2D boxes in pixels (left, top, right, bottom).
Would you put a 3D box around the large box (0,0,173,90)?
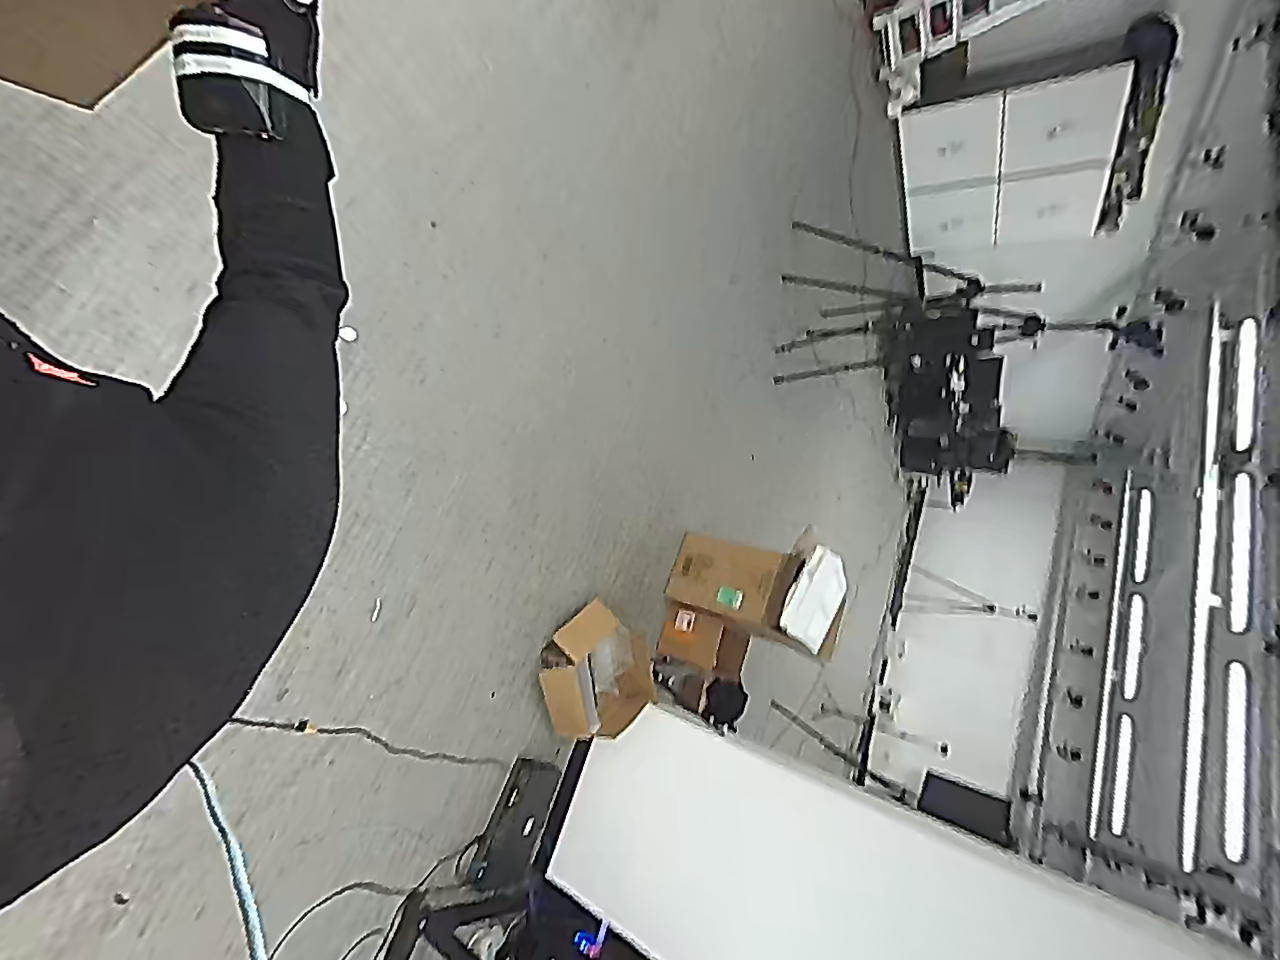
[{"bbox_3d":[-0.499,-0.468,0.237,0.408,0.320,0.320,-9,106,-56],"label":"large box"}]
